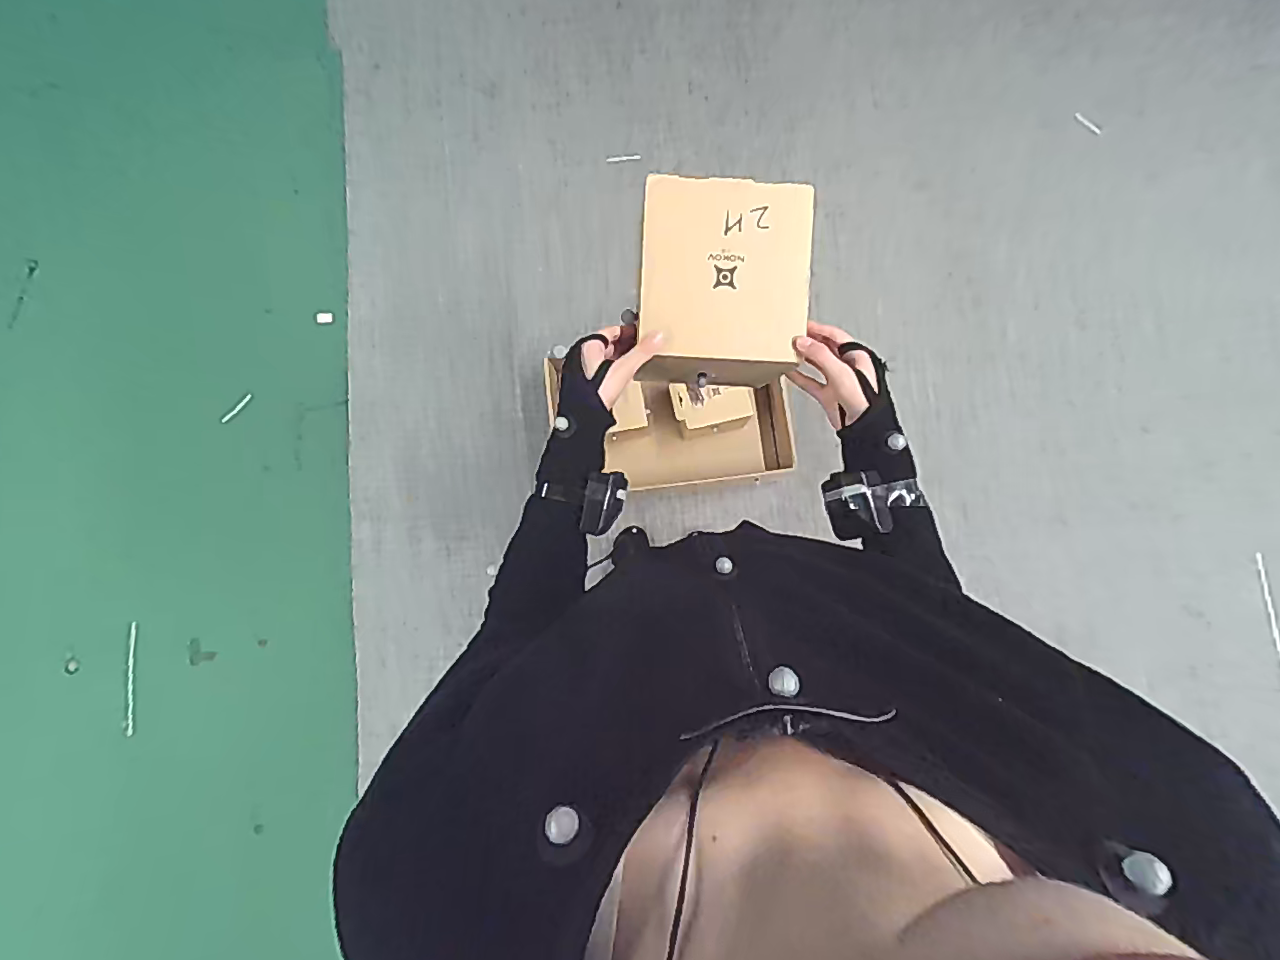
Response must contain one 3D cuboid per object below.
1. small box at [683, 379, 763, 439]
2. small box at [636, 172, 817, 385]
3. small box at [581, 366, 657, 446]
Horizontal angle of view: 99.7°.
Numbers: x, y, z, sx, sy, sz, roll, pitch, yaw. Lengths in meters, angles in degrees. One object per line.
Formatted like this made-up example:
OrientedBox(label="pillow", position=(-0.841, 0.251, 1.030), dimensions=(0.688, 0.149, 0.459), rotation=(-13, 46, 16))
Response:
OrientedBox(label="small box", position=(0.213, -0.217, 1.441), dimensions=(0.179, 0.176, 0.168), rotation=(-13, 84, 2))
OrientedBox(label="small box", position=(0.083, -0.206, 0.603), dimensions=(0.168, 0.176, 0.179), rotation=(3, 91, -2))
OrientedBox(label="small box", position=(-0.051, -0.194, 1.453), dimensions=(0.179, 0.176, 0.168), rotation=(-10, 85, 1))
